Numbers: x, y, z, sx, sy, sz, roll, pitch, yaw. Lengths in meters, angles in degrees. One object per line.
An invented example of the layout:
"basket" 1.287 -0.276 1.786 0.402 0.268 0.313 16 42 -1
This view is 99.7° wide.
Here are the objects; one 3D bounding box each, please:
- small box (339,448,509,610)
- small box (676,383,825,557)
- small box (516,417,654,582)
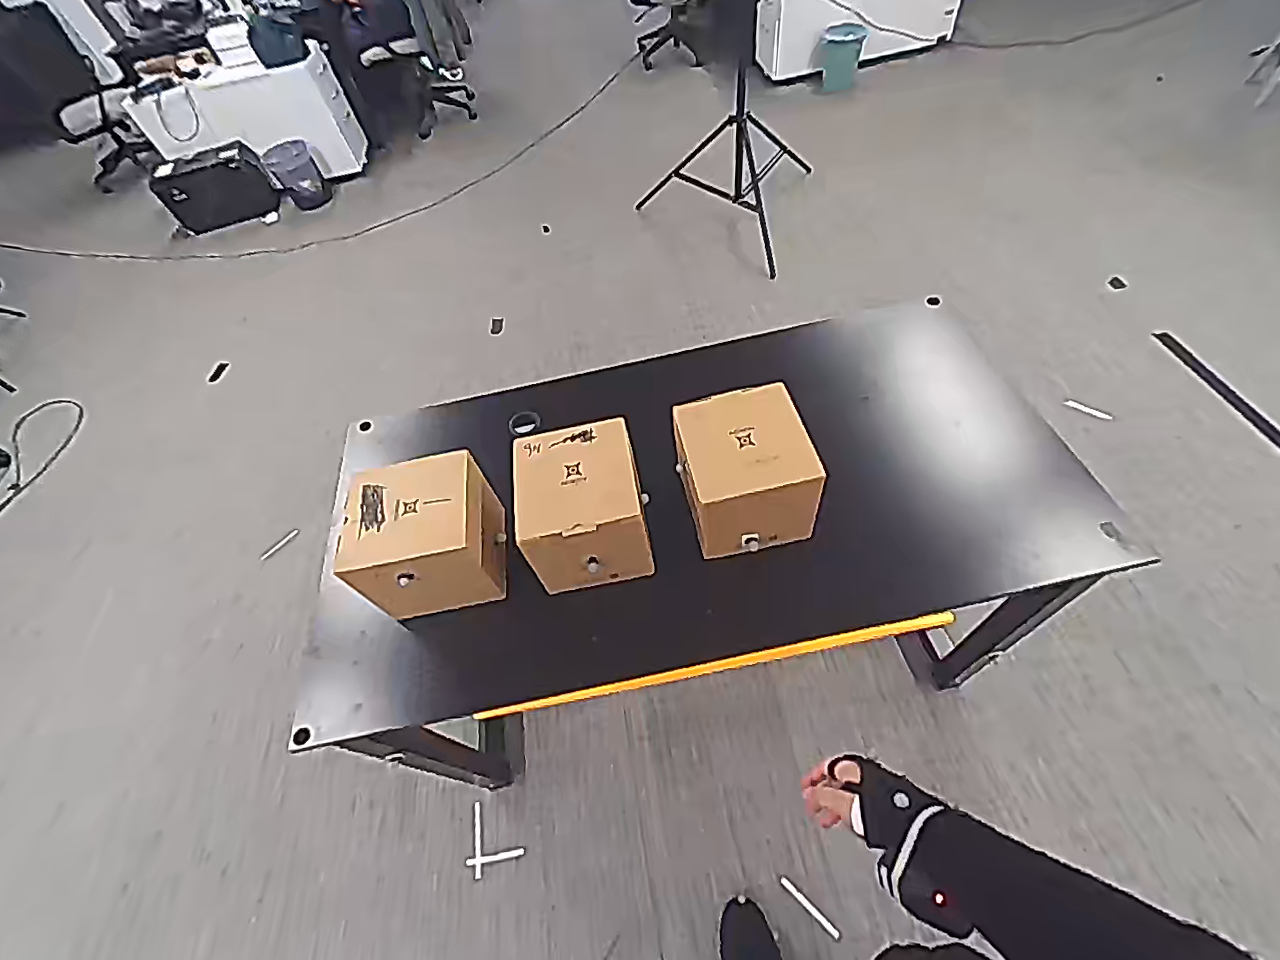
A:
"small box" -0.307 0.080 0.808 0.179 0.176 0.168 -11 55 0
"small box" 0.154 -0.011 0.803 0.168 0.176 0.179 -13 55 1
"small box" -0.078 0.038 0.804 0.168 0.176 0.179 -11 55 1
